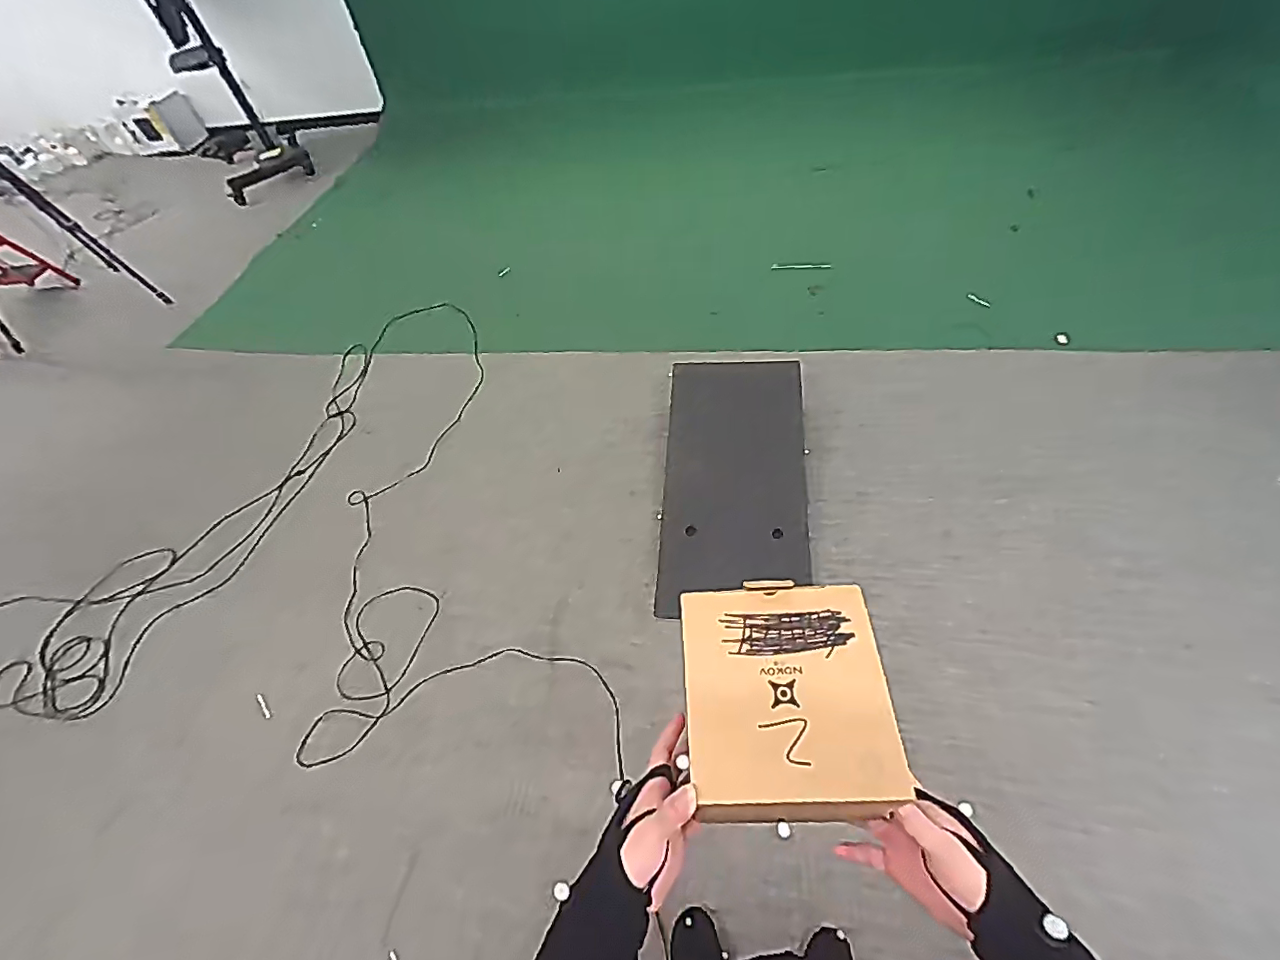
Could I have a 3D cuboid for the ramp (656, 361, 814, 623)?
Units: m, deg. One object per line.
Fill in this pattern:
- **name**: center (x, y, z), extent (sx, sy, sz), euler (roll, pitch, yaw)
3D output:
- **ramp**: center (0.333, -0.013, 1.888), extent (0.509, 0.206, 0.991), euler (0, 53, 7)
